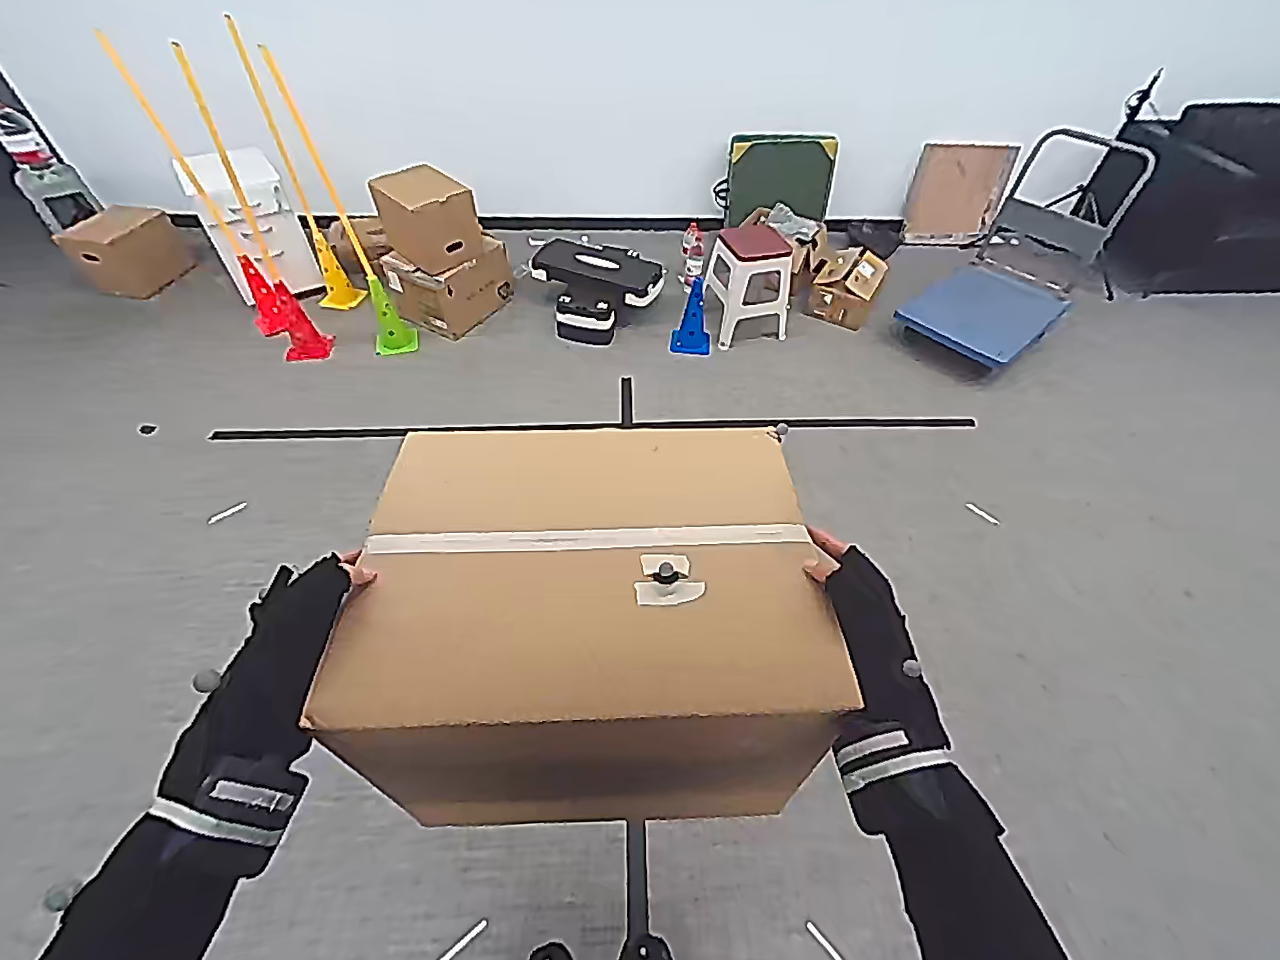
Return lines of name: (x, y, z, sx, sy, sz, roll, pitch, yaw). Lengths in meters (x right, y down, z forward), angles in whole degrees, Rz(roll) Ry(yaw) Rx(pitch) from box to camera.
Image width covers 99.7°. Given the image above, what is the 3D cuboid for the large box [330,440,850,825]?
large box: (-0.044, 0.171, 0.616, 0.408, 0.320, 0.320, -1, 46, -2)
